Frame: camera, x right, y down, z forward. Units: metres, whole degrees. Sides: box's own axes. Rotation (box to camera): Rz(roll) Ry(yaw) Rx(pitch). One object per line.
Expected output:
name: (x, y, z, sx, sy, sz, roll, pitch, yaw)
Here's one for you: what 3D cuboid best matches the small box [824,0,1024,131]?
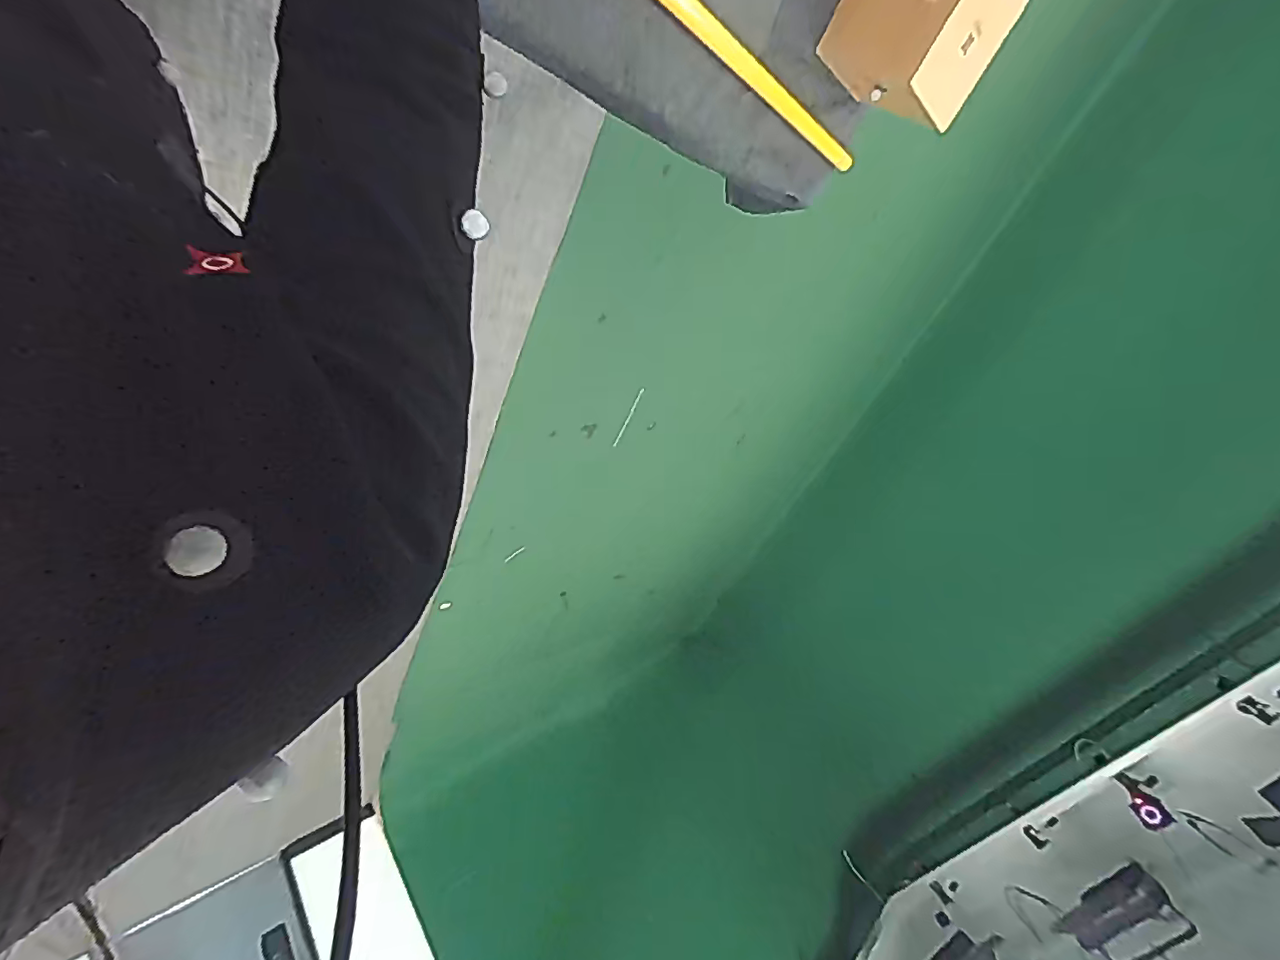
small box: (0.385, -0.637, 0.756, 0.168, 0.176, 0.179, -6, 133, -47)
